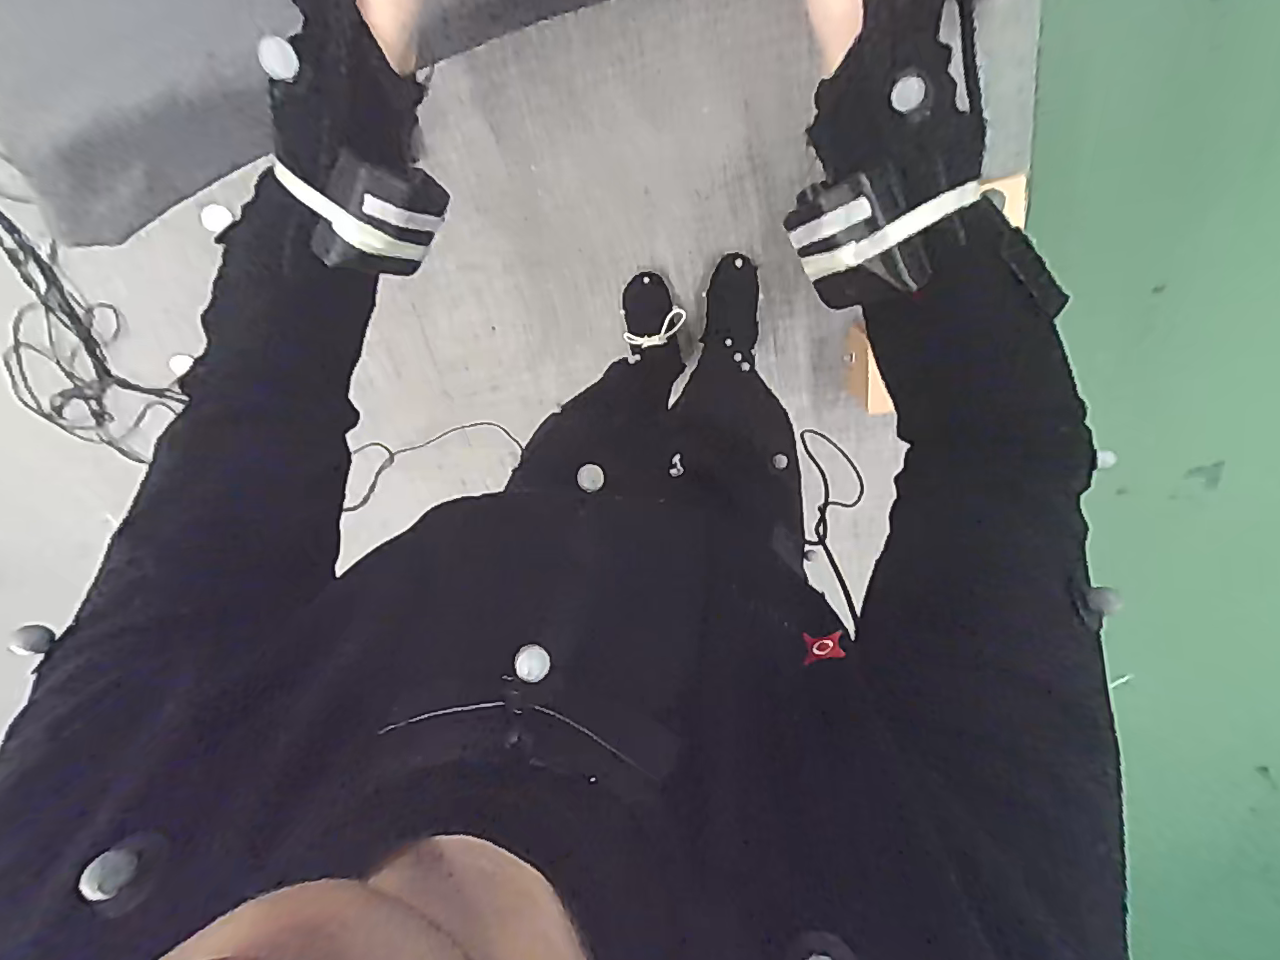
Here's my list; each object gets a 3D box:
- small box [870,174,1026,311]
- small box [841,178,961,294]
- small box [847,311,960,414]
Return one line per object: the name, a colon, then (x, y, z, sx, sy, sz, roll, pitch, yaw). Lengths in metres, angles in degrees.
small box: (0.510, -0.403, 0.913, 0.179, 0.176, 0.168, -12, 115, 11)
small box: (0.503, -0.475, 1.062, 0.179, 0.176, 0.168, -11, 114, 10)
small box: (0.560, -0.259, 1.169, 0.179, 0.176, 0.168, -7, 115, 10)
